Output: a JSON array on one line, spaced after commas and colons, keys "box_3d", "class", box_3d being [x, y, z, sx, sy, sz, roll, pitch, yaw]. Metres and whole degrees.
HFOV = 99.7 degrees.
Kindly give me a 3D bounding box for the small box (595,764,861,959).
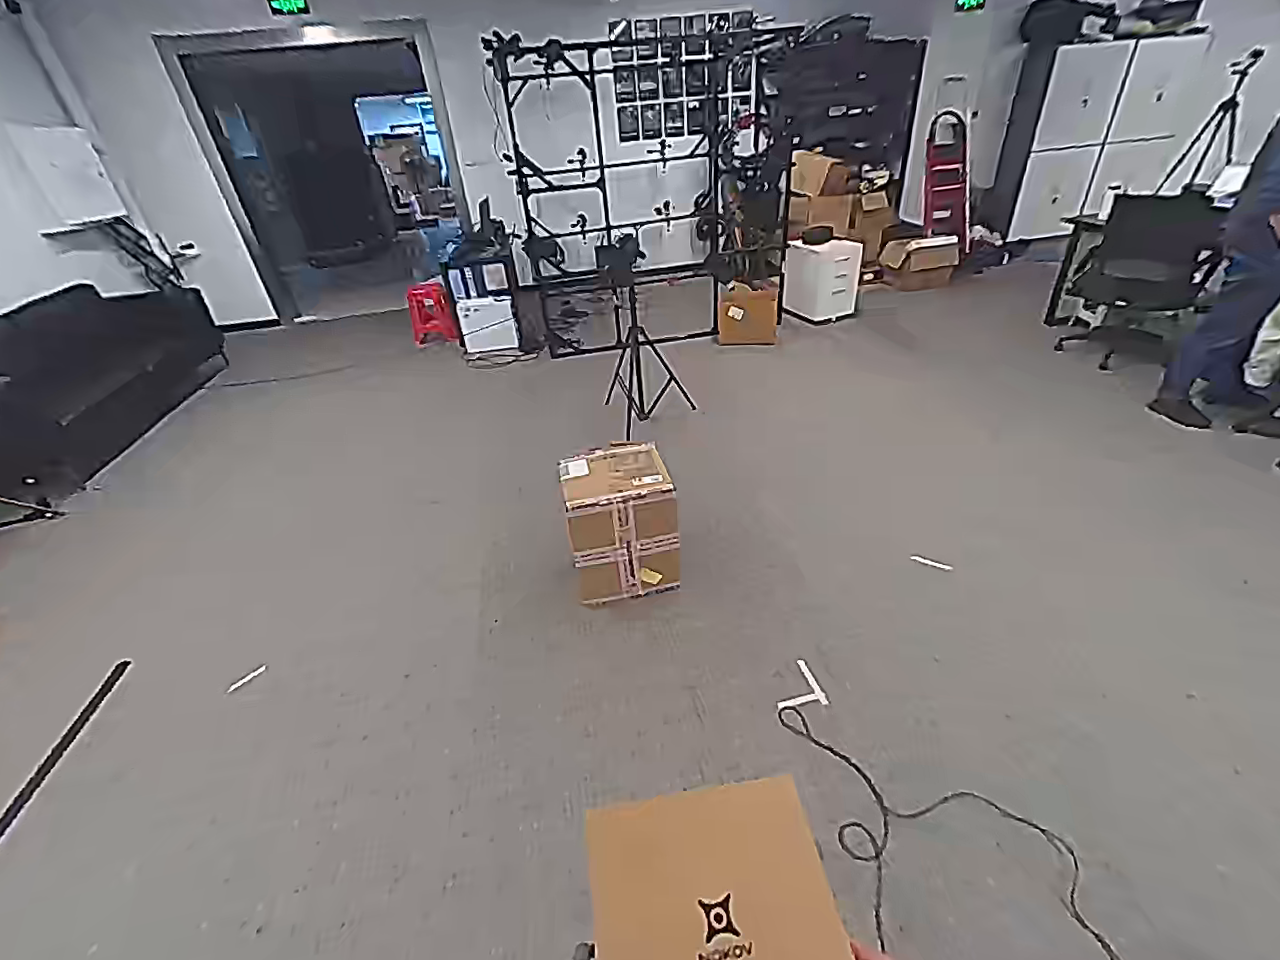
[{"box_3d": [0.054, 0.353, 0.415, 0.168, 0.176, 0.179, -6, 42, -7], "class": "small box"}]
